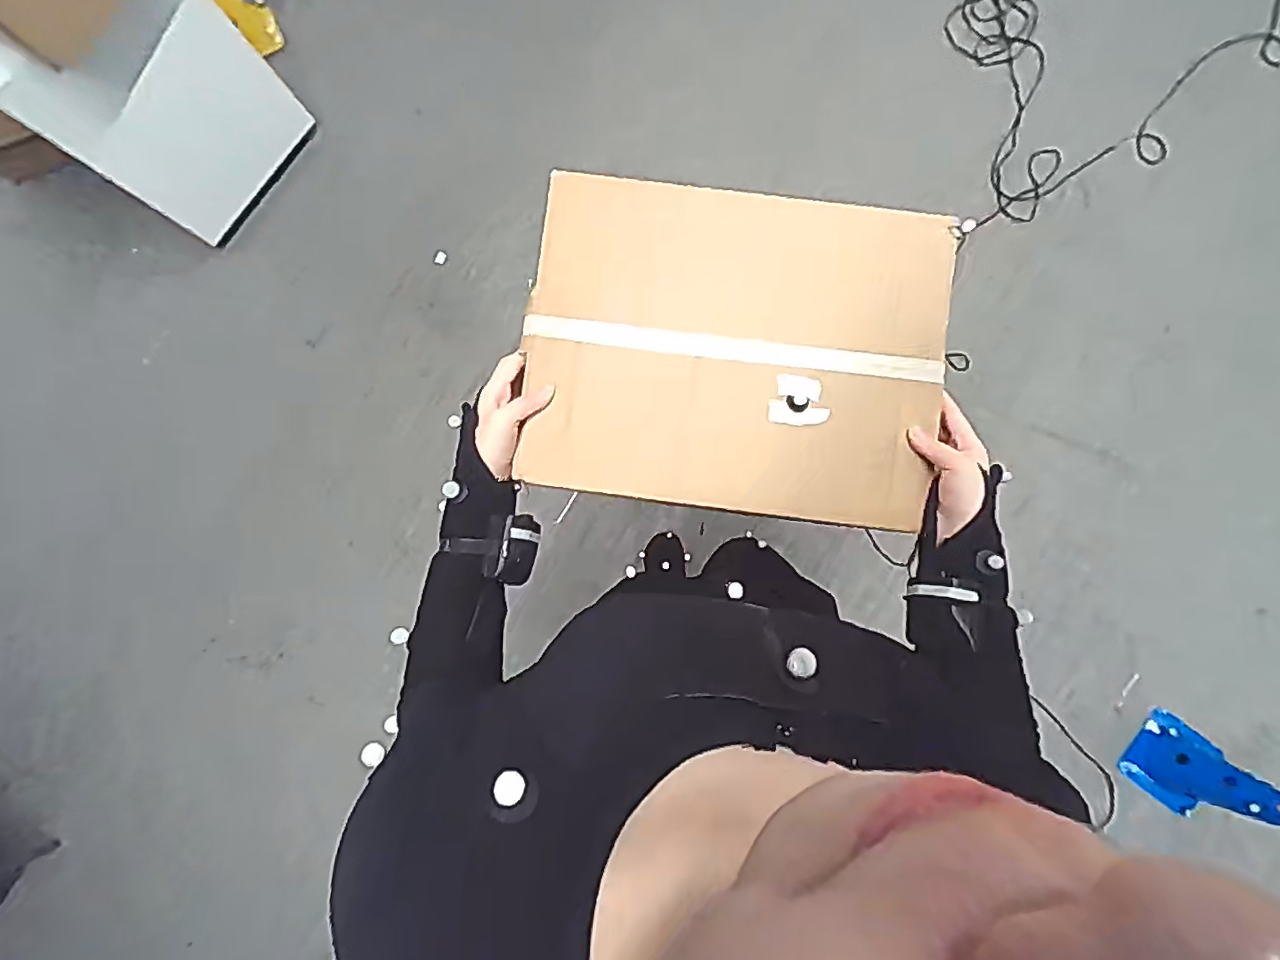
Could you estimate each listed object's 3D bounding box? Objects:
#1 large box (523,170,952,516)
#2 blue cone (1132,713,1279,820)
[{"bbox_3d":[0.097,-0.132,0.683,0.408,0.320,0.320,8,89,0],"label":"large box"},{"bbox_3d":[1.354,0.692,1.204,0.192,0.380,0.193,39,87,7],"label":"blue cone"}]
